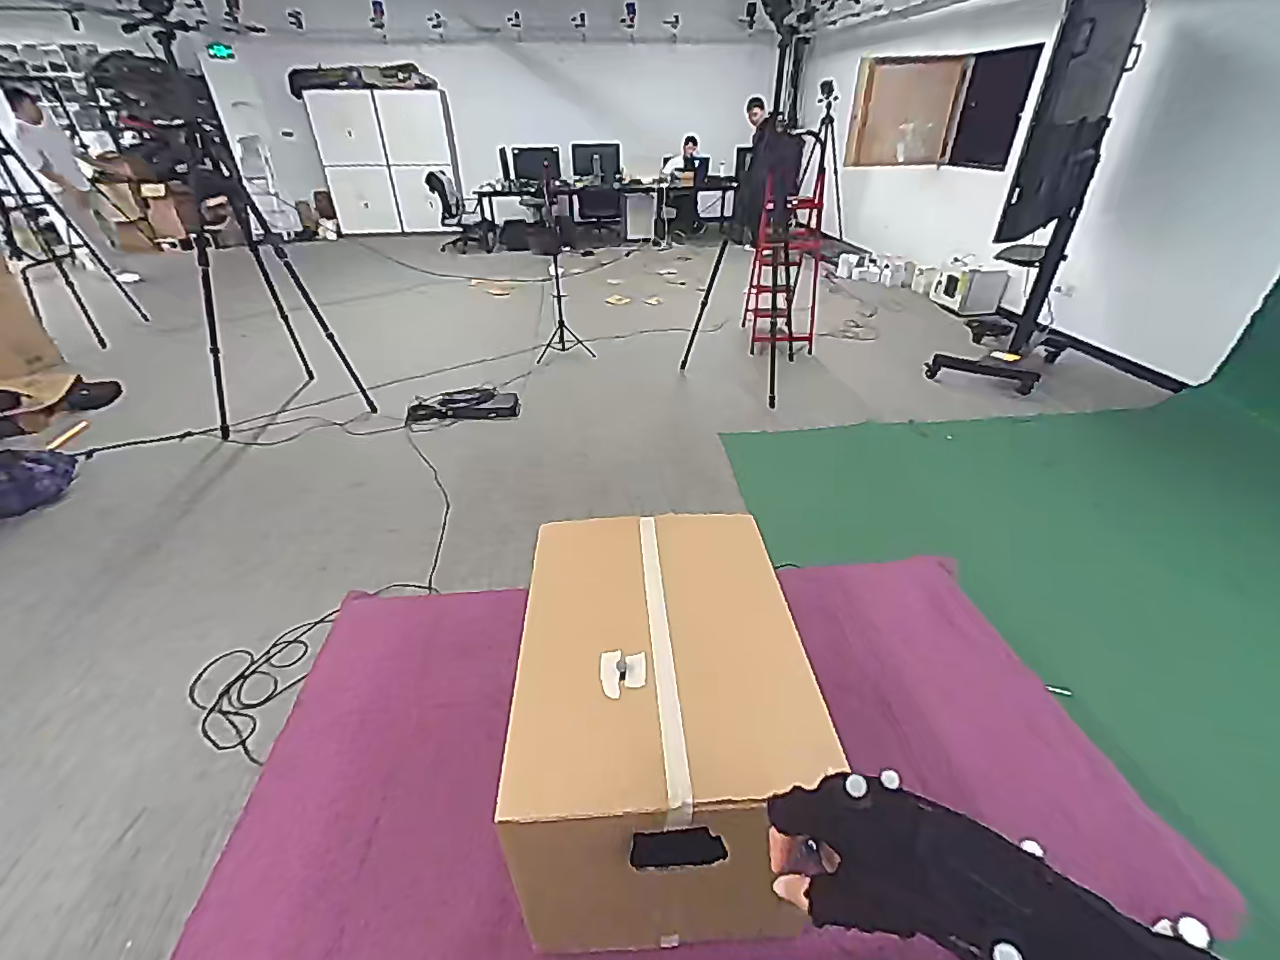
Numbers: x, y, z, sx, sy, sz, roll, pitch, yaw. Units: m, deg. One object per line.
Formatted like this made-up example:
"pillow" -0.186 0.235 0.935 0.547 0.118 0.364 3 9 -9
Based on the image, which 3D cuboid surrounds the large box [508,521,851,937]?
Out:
"large box" 0.022 0.297 0.718 0.320 0.320 0.408 -2 34 -3
